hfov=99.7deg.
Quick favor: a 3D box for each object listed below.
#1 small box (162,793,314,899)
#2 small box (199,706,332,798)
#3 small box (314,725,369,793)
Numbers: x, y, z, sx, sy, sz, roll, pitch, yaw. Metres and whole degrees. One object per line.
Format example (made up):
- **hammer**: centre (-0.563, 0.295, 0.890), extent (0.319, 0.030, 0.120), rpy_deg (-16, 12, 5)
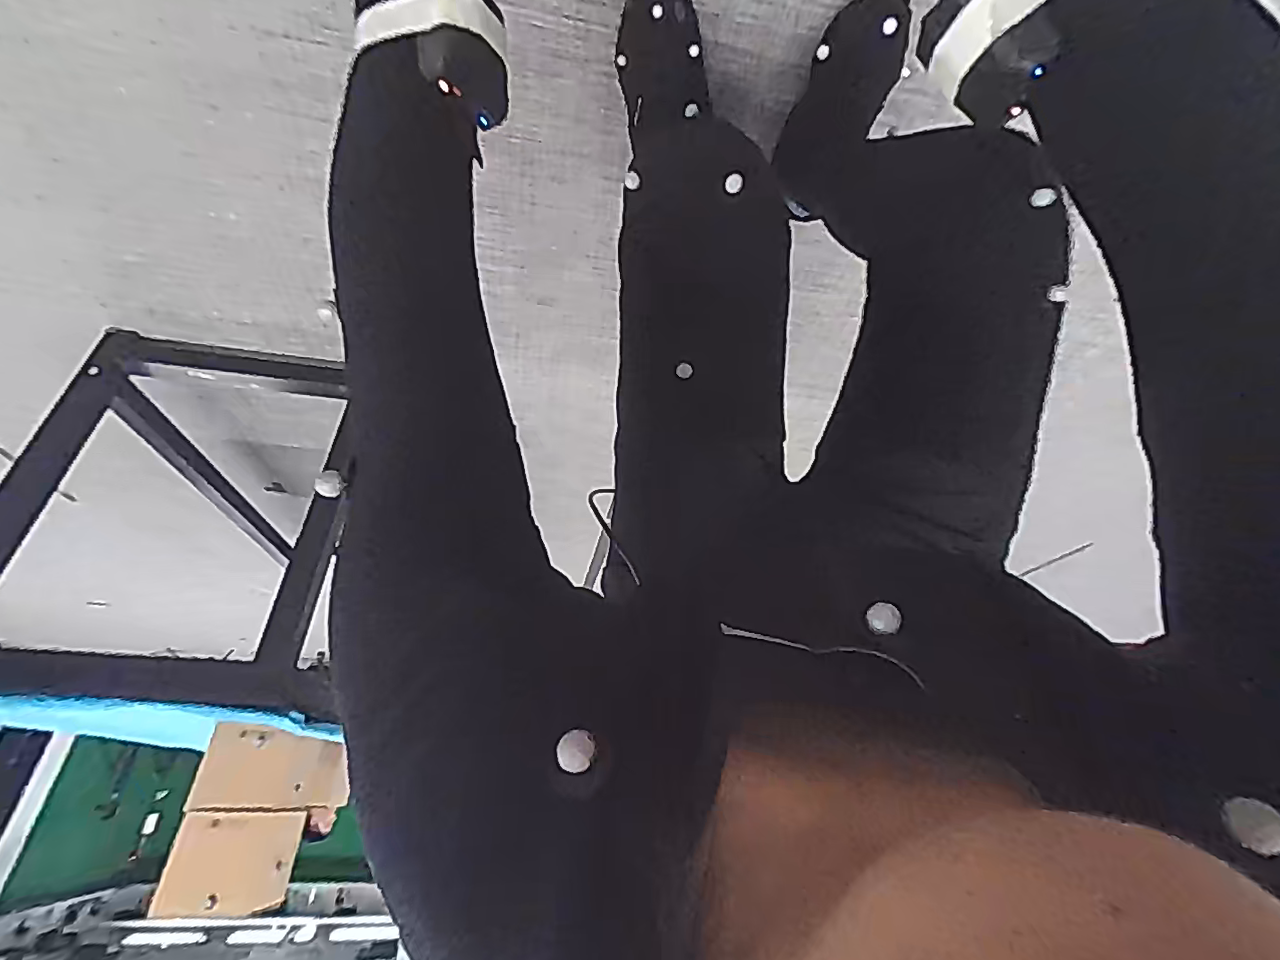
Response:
- **small box**: centre (-0.813, 0.746, 1.119), extent (0.168, 0.176, 0.179), rpy_deg (4, 150, -4)
- **small box**: centre (-0.816, 0.608, 1.205), extent (0.168, 0.176, 0.179), rpy_deg (6, 151, -7)
- **small box**: centre (-0.925, 0.819, 1.588), extent (0.179, 0.176, 0.168), rpy_deg (5, 152, -10)
